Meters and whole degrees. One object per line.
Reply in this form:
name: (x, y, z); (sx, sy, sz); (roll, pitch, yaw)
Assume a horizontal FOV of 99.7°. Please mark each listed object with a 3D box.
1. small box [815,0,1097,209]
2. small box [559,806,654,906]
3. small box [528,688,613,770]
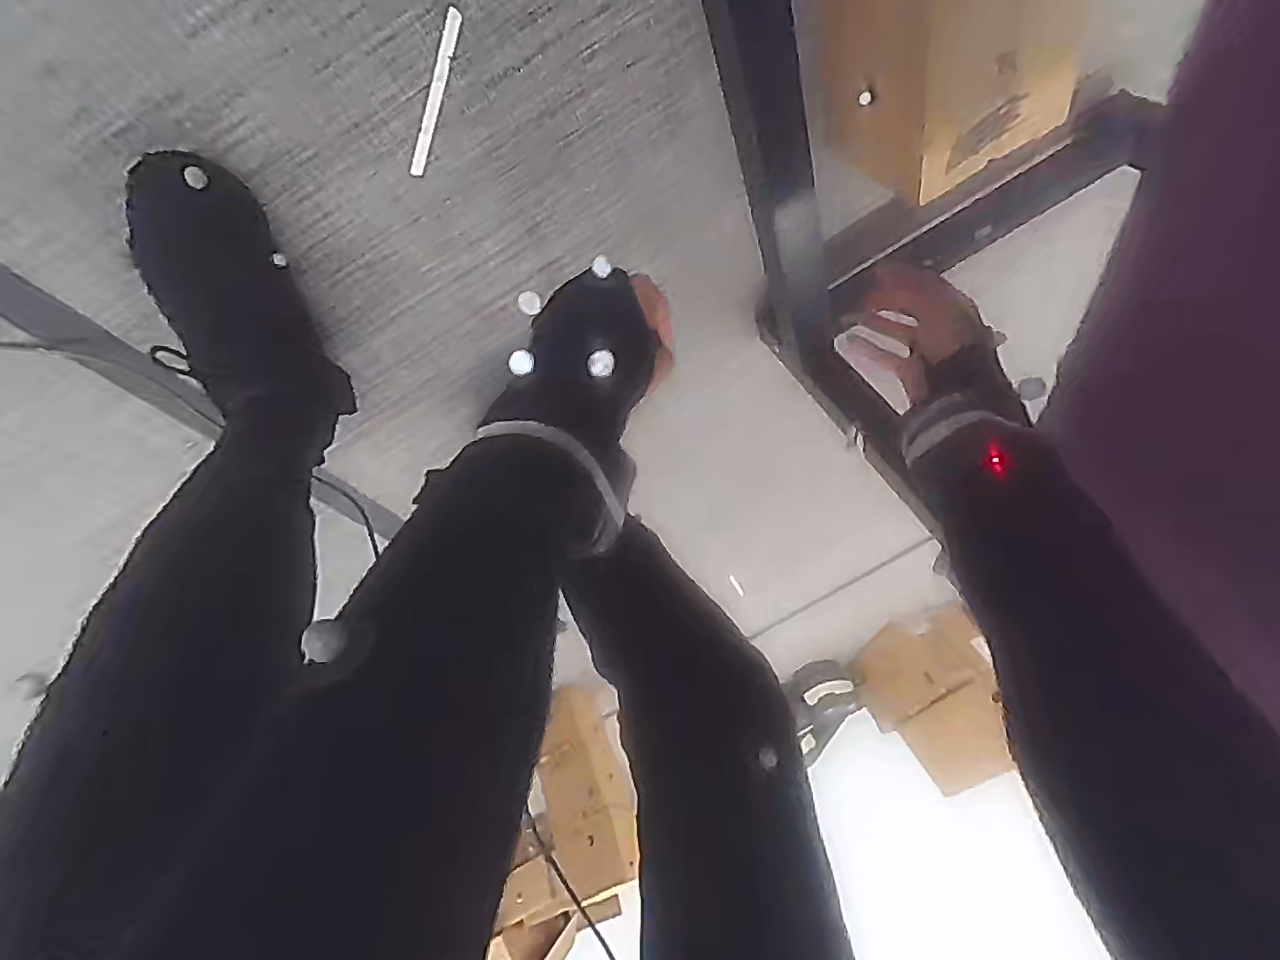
small box: (0.292, -0.415, 0.528); (0.168, 0.176, 0.179); (-30, 142, 4)
small box: (-0.089, 0.979, 1.421); (0.168, 0.176, 0.179); (-29, 143, 6)
small box: (-0.210, 0.742, 1.613); (0.168, 0.176, 0.179); (-32, 142, 8)
